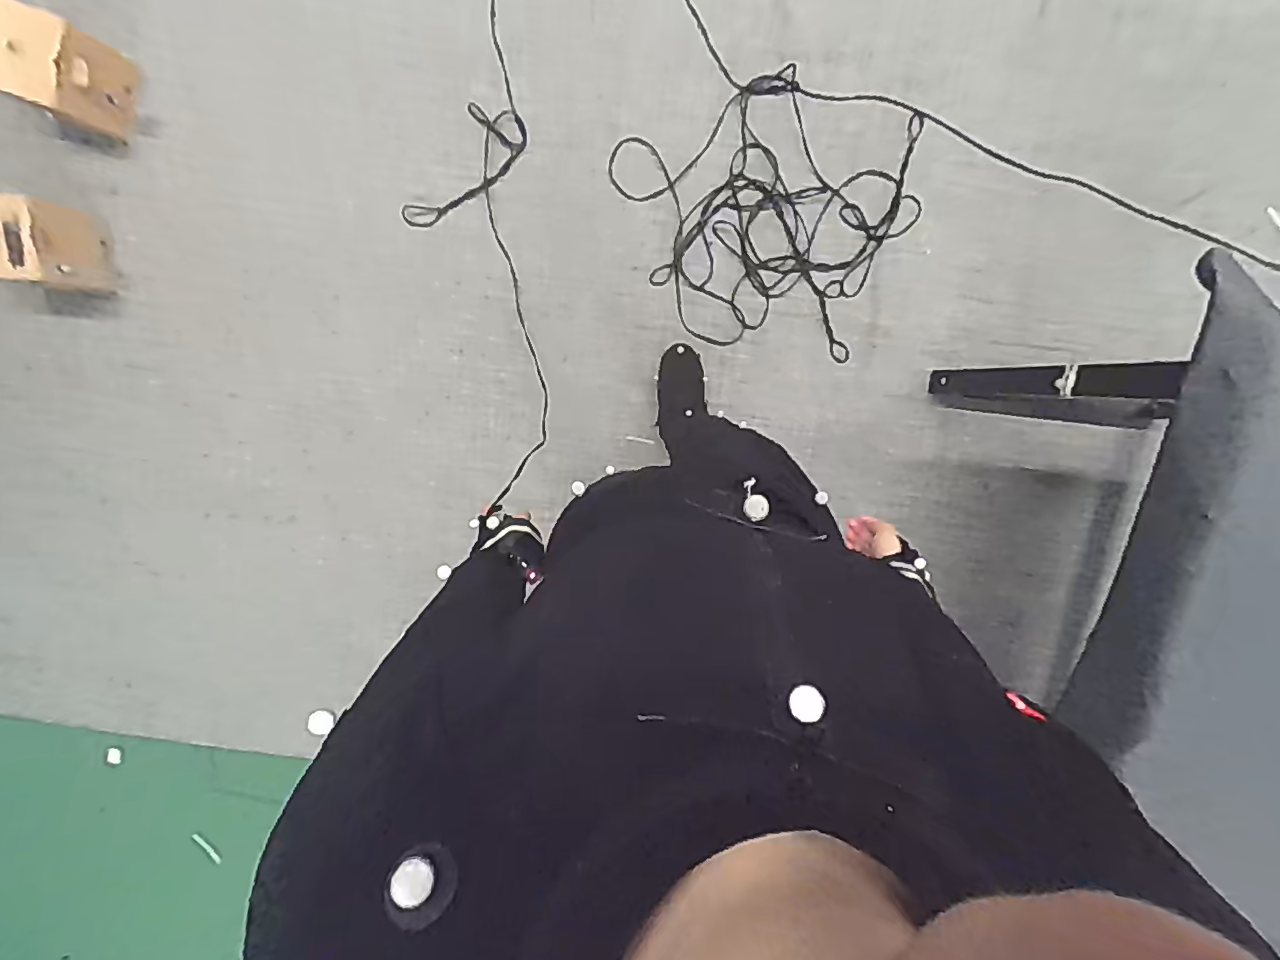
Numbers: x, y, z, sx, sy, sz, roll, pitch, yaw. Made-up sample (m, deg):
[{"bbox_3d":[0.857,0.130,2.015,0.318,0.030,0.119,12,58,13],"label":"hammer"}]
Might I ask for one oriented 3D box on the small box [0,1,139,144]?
[{"bbox_3d":[-1.204,-0.831,1.113,0.179,0.176,0.168,17,100,-3],"label":"small box"}]
